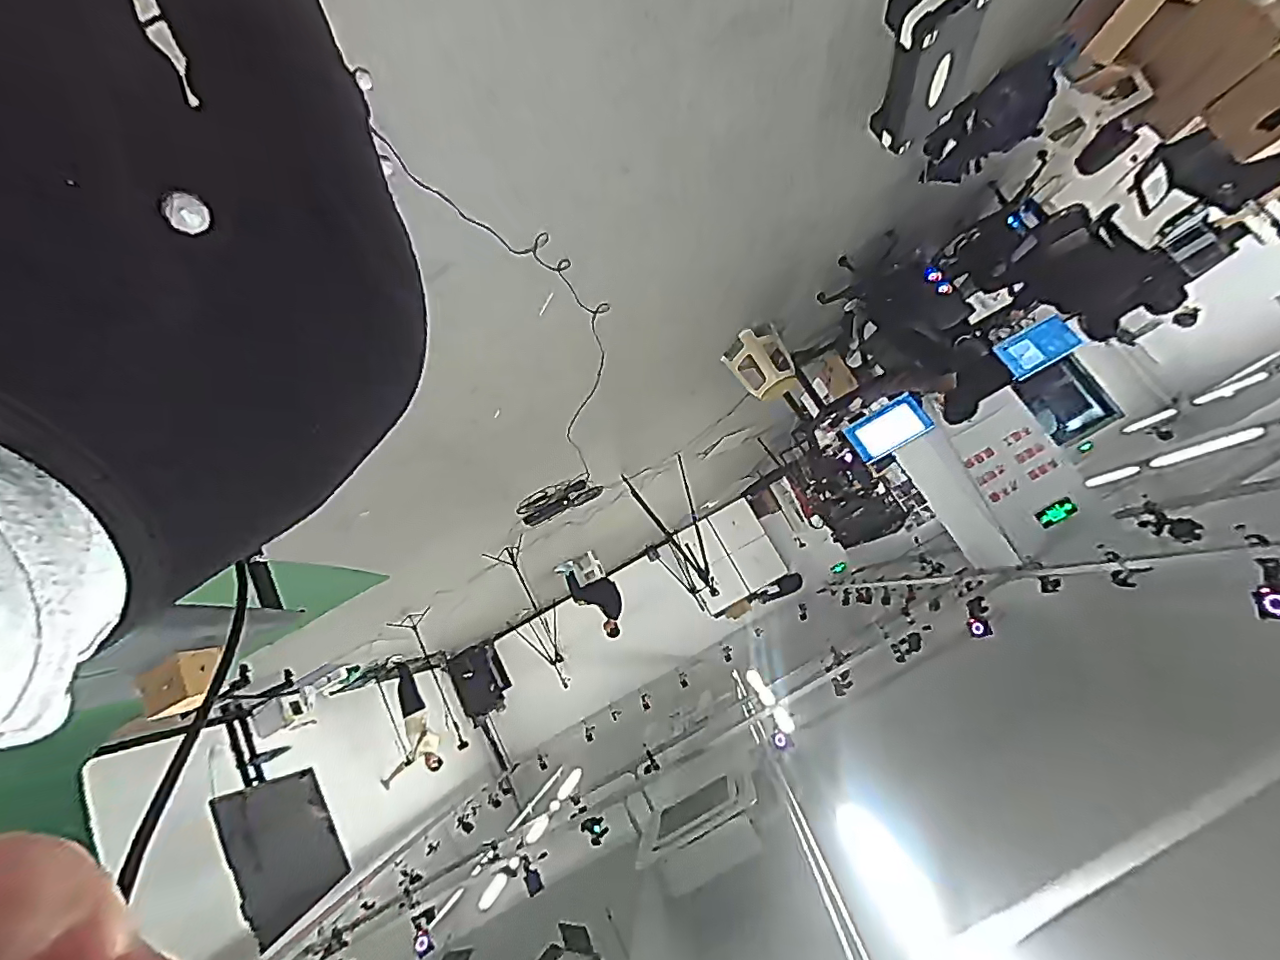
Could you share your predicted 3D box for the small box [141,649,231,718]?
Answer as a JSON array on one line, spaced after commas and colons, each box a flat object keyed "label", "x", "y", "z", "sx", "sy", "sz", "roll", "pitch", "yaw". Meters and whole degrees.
[{"label": "small box", "x": -1.650, "y": 0.726, "z": 1.961, "sx": 0.179, "sy": 0.176, "sz": 0.168, "roll": -31, "pitch": 166, "yaw": 1}]
